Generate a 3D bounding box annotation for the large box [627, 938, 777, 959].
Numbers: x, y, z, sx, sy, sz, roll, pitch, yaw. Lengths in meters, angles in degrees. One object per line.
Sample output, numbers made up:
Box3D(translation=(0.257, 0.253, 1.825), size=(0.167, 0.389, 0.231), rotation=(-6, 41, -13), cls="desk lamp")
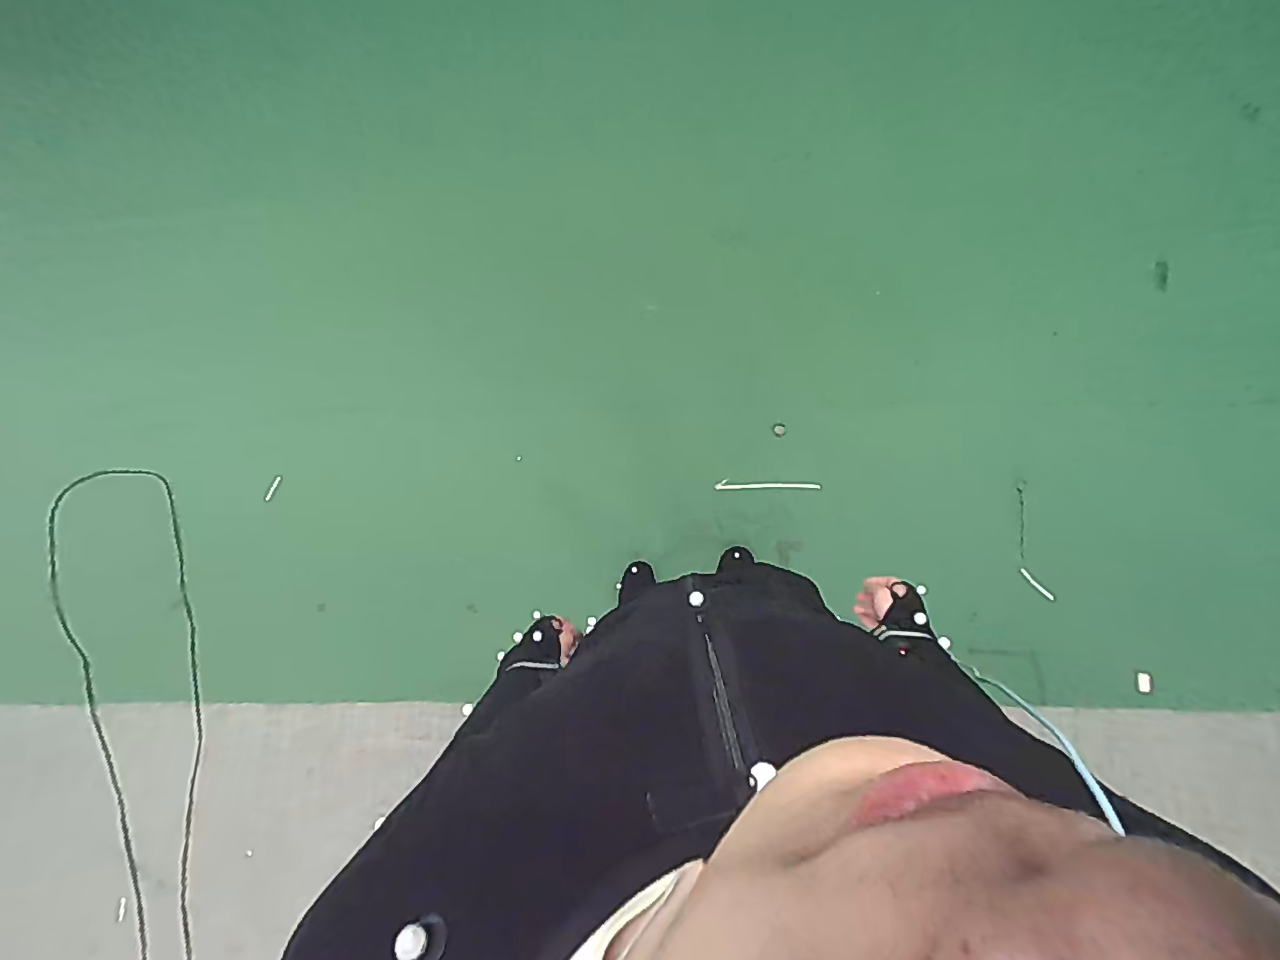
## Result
Box3D(translation=(0.165, 1.409, 1.344), size=(0.408, 0.320, 0.320), rotation=(-3, 82, 4), cls="large box")
